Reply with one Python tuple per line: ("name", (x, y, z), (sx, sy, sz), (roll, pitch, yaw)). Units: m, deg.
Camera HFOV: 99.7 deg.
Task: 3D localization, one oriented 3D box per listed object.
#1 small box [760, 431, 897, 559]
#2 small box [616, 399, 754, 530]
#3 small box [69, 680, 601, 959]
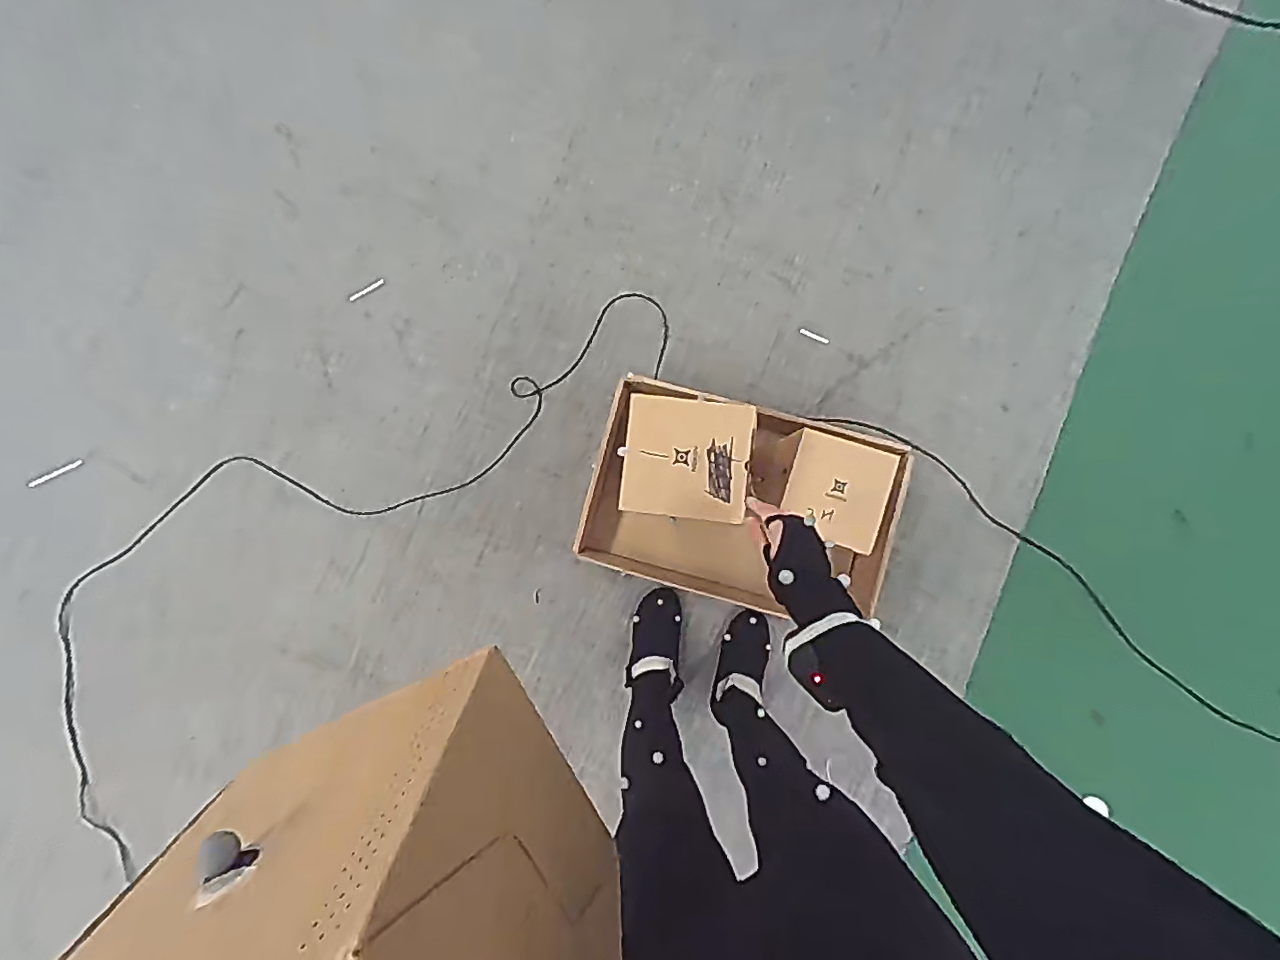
("small box", (0.326, 0.026, 0.972), (0.168, 0.176, 0.179), (17, 89, 4))
("small box", (0.064, -0.022, 0.823), (0.179, 0.176, 0.168), (6, 89, 2))
("small box", (-0.124, 0.227, 0.252), (0.176, 0.179, 0.168), (-23, 101, 1))
